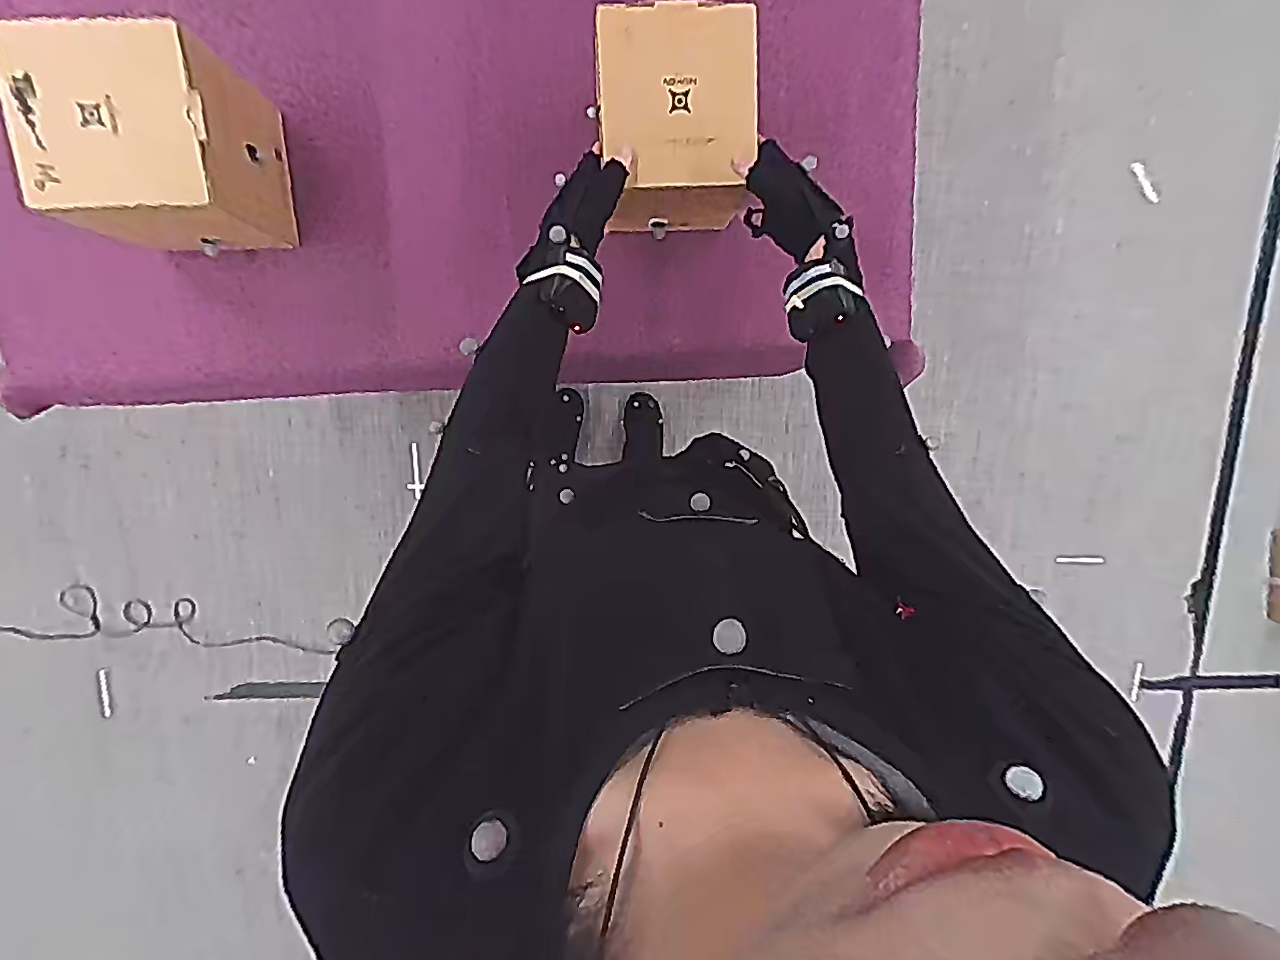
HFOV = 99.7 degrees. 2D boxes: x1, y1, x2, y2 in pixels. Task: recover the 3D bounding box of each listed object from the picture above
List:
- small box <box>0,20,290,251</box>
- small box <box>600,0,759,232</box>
[{"bbox_3d":[-0.520,-0.362,0.599,0.179,0.176,0.168,-4,99,-5],"label":"small box"},{"bbox_3d":[0.038,-0.411,0.637,0.168,0.176,0.179,-3,99,-2],"label":"small box"}]
